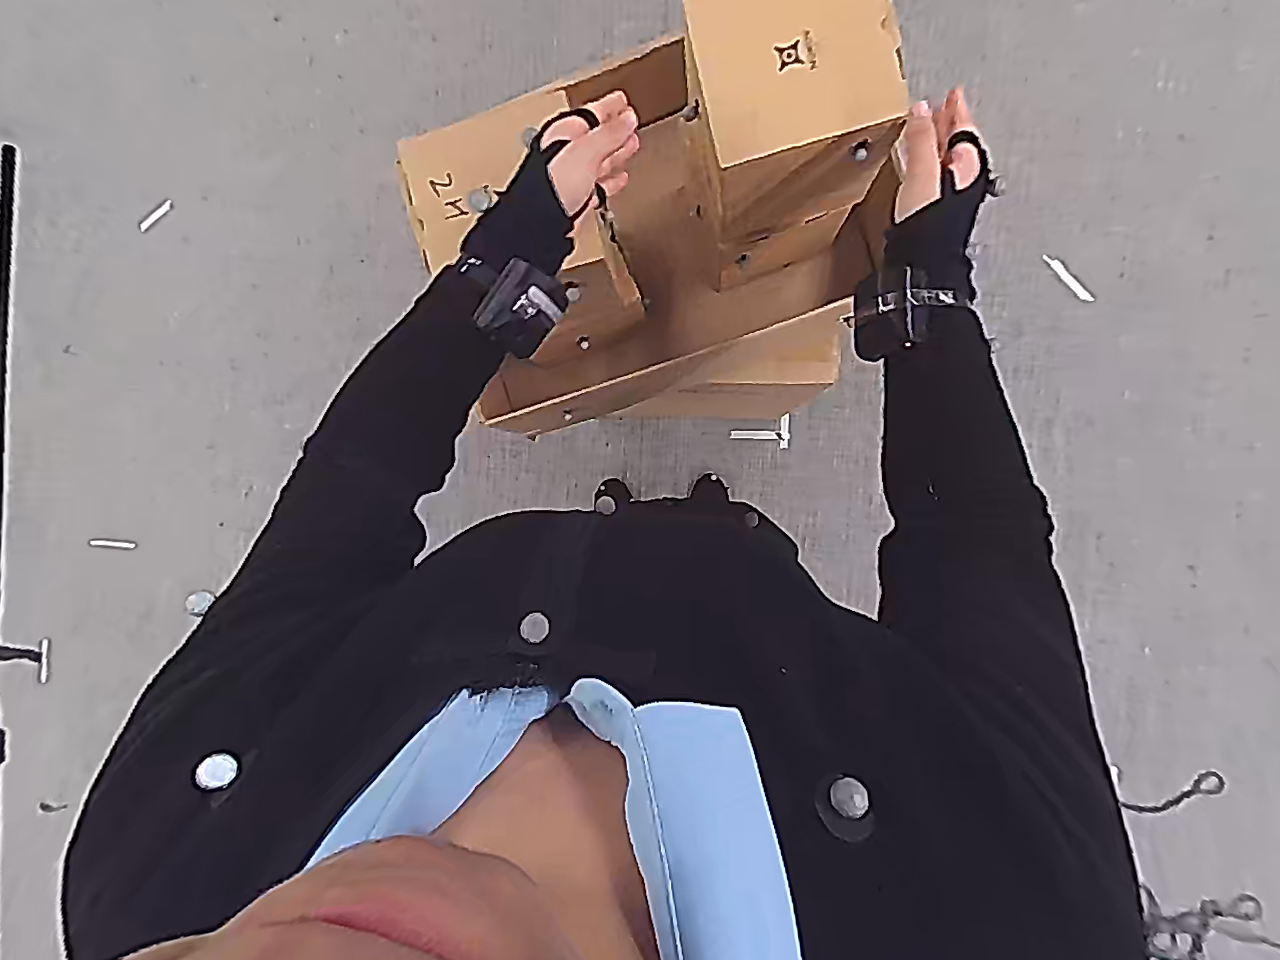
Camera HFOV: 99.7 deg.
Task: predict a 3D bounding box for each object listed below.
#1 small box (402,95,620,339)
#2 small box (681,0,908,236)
[{"bbox_3d":[-0.125,-0.271,0.602,0.179,0.176,0.168,-14,90,6],"label":"small box"},{"bbox_3d":[0.148,-0.386,0.570,0.179,0.176,0.168,-13,90,7],"label":"small box"}]
